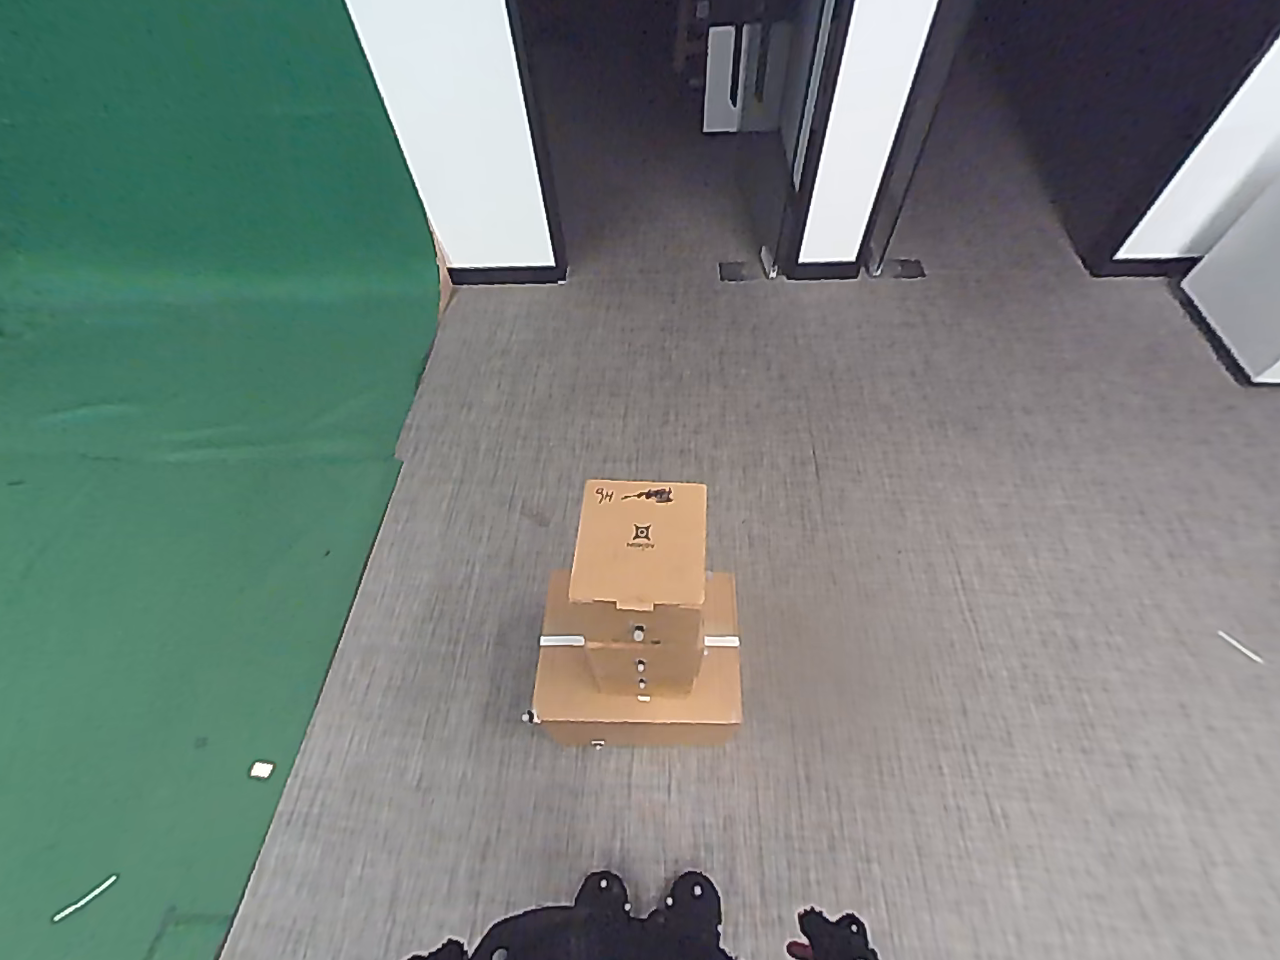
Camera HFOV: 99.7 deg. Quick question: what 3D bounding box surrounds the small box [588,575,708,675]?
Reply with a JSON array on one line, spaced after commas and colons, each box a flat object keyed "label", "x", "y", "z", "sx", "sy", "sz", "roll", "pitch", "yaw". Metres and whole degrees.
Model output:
[{"label": "small box", "x": 0.012, "y": 0.216, "z": 0.886, "sx": 0.179, "sy": 0.176, "sz": 0.168, "roll": -2, "pitch": 57, "yaw": 1}]

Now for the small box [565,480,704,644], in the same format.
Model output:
[{"label": "small box", "x": 0.003, "y": 0.119, "z": 0.754, "sx": 0.168, "sy": 0.176, "sz": 0.179, "roll": 3, "pitch": 58, "yaw": 6}]

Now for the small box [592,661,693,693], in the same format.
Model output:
[{"label": "small box", "x": 0.012, "y": 0.301, "z": 1.026, "sx": 0.179, "sy": 0.176, "sz": 0.168, "roll": 2, "pitch": 58, "yaw": 3}]
